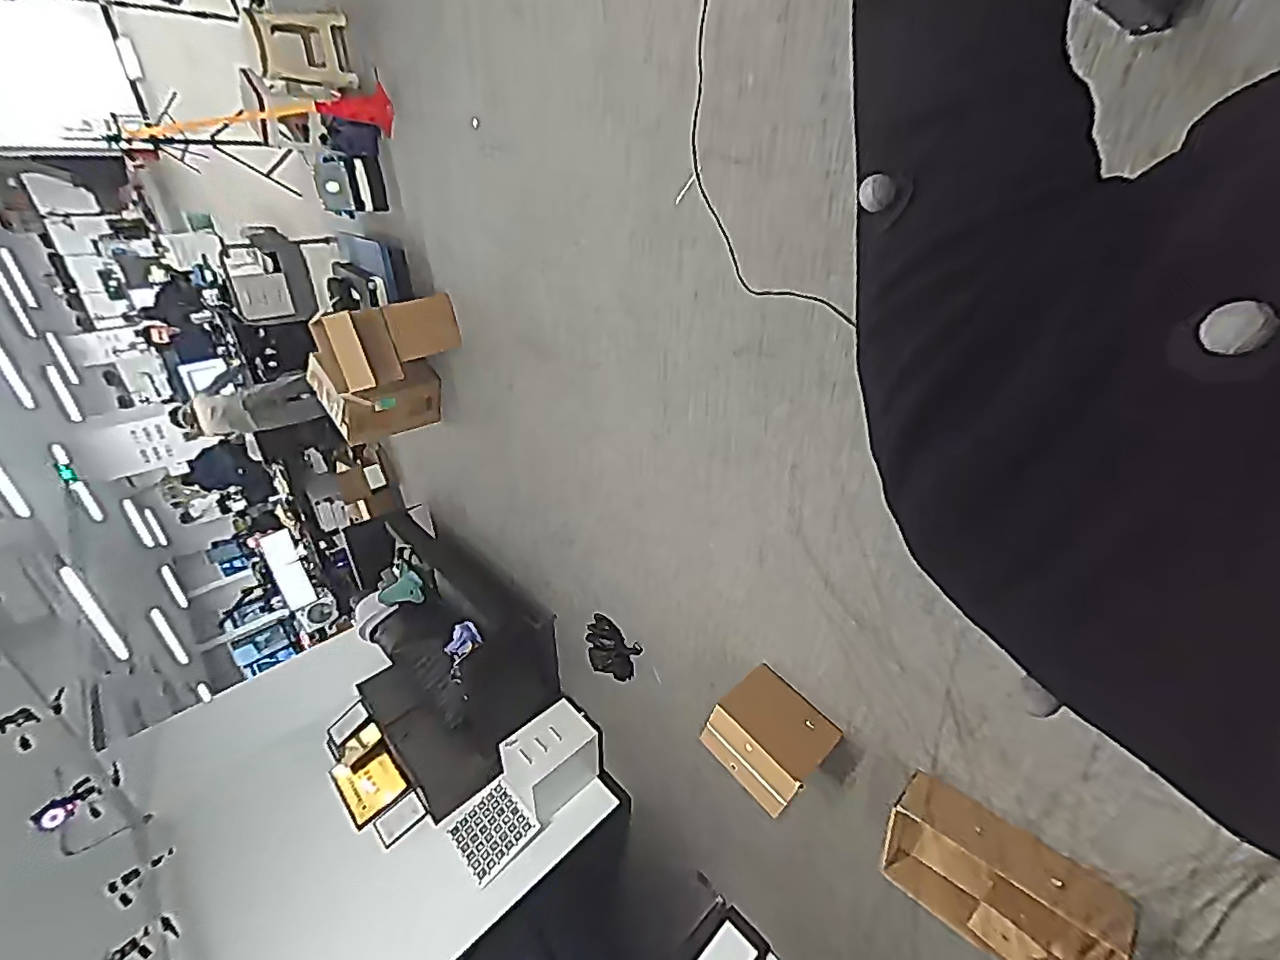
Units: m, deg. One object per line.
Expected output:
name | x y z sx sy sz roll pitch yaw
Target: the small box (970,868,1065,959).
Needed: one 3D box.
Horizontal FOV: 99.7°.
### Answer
small box | 1.160 1.355 1.658 0.179 0.176 0.168 30 130 40
